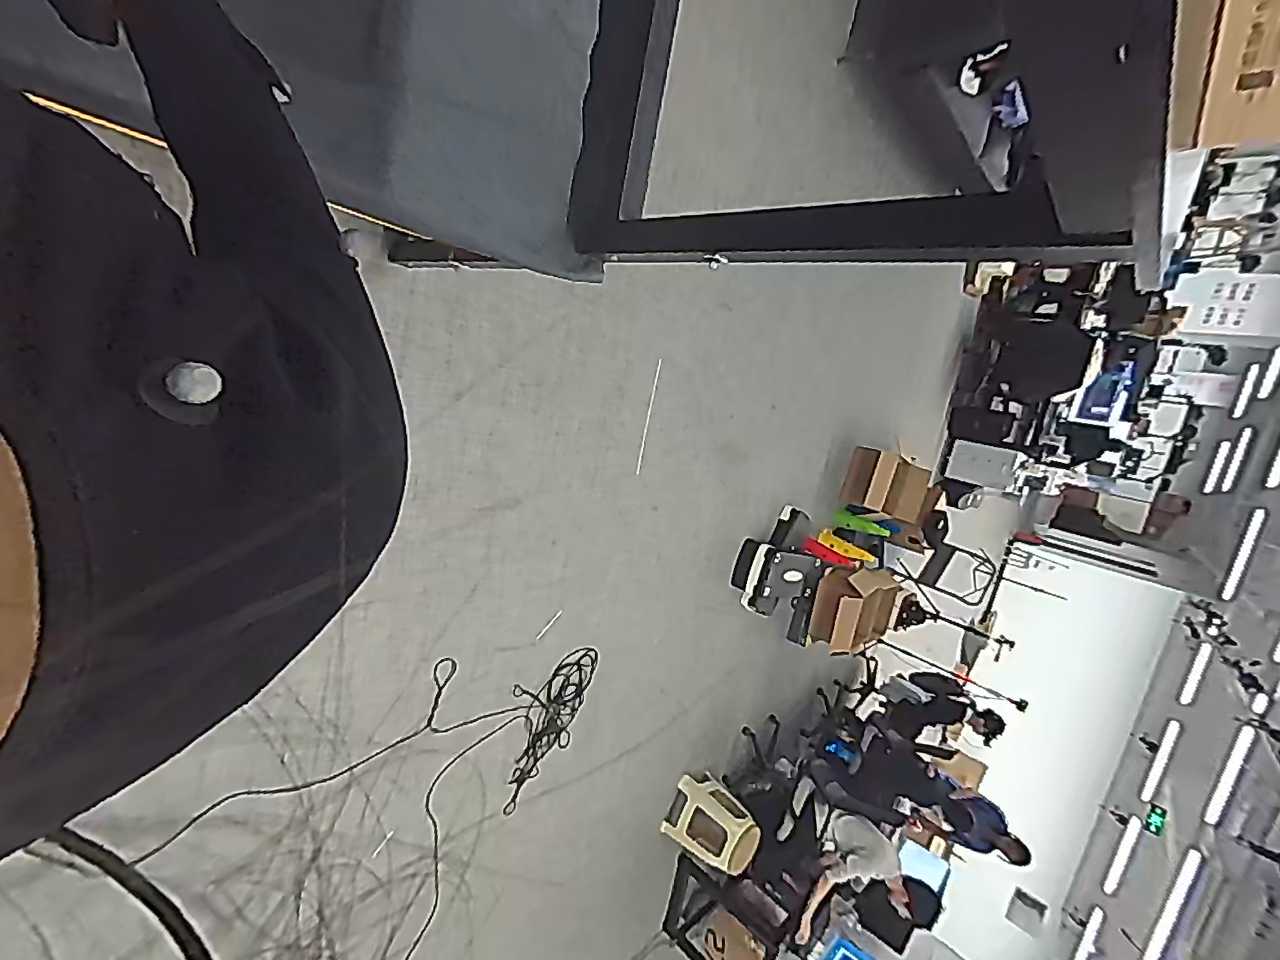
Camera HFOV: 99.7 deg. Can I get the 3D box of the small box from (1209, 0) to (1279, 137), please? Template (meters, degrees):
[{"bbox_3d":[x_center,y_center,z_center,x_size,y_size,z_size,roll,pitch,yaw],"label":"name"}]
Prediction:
[{"bbox_3d":[0.405,-0.292,0.242,0.168,0.176,0.179,16,93,-49],"label":"small box"}]
